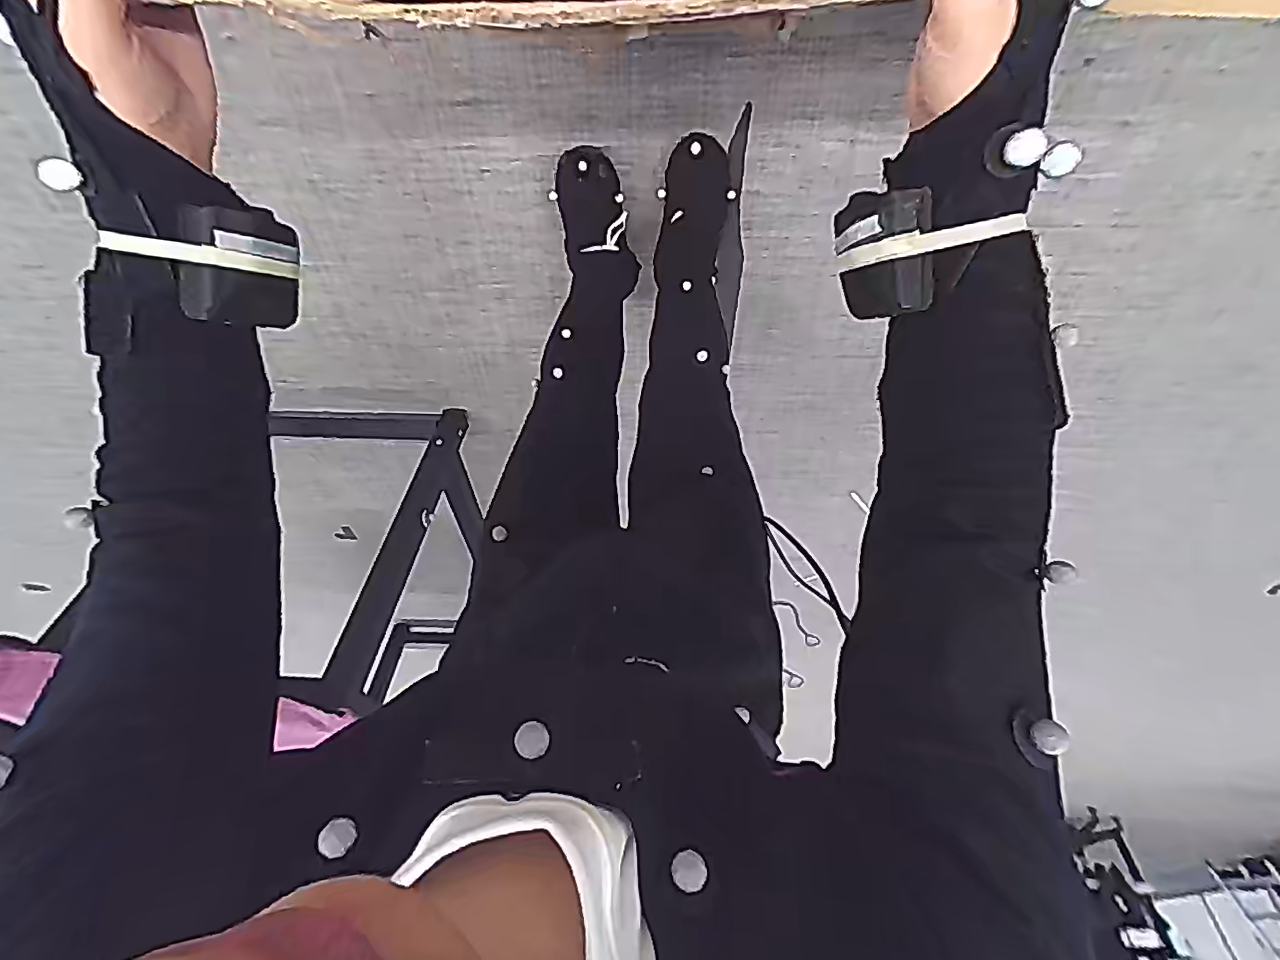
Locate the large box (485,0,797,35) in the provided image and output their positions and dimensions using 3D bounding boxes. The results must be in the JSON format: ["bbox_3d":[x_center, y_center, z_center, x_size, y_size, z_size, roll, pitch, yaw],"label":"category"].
[{"bbox_3d":[-0.005,-0.700,0.496,0.320,0.320,0.408,1,138,3],"label":"large box"}]
